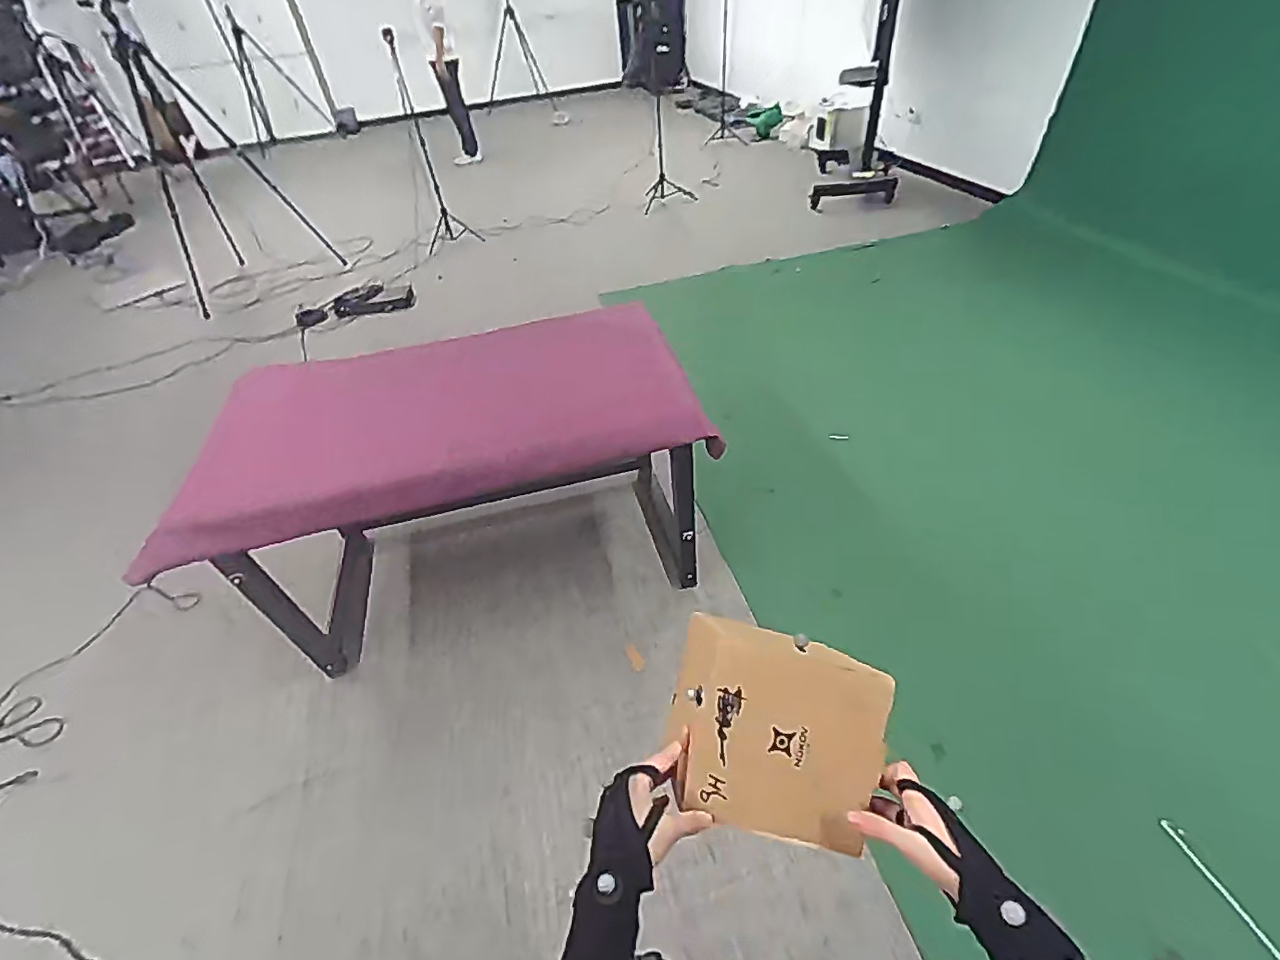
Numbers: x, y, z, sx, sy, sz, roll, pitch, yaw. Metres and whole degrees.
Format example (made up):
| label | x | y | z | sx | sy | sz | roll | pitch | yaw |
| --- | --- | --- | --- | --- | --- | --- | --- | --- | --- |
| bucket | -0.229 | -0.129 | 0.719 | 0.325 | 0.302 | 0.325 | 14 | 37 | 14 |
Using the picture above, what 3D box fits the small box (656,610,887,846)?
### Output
| label | x | y | z | sx | sy | sz | roll | pitch | yaw |
| --- | --- | --- | --- | --- | --- | --- | --- | --- | --- |
| small box | 0.126 | 0.244 | 0.576 | 0.179 | 0.176 | 0.168 | 15 | 81 | -2 |
